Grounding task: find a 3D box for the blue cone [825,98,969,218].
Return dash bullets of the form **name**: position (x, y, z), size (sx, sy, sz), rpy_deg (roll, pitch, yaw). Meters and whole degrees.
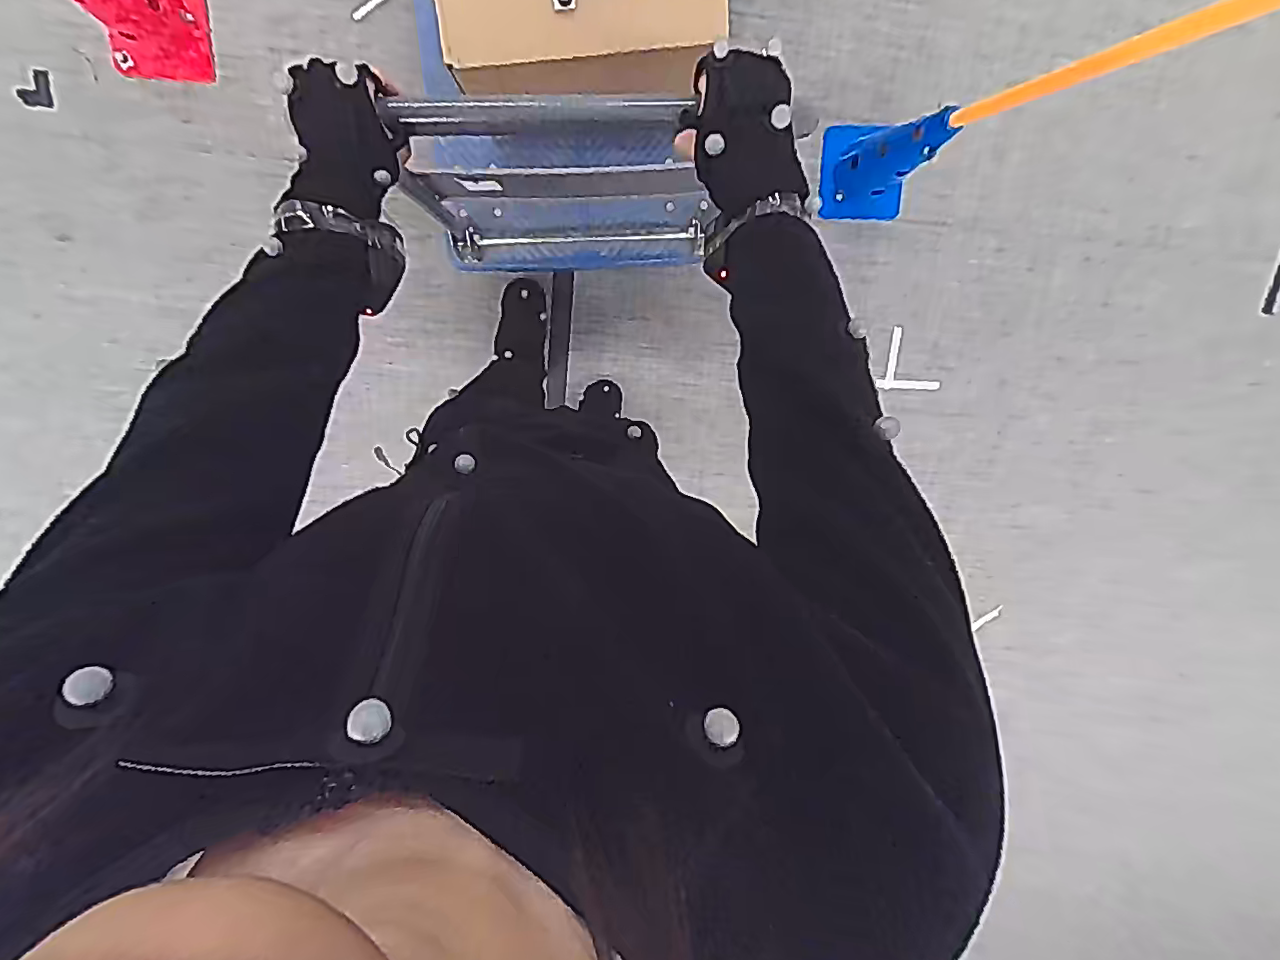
- **blue cone**: position (0.541, -0.679, 1.115), size (0.193, 0.380, 0.192), rpy_deg (0, 105, -4)
